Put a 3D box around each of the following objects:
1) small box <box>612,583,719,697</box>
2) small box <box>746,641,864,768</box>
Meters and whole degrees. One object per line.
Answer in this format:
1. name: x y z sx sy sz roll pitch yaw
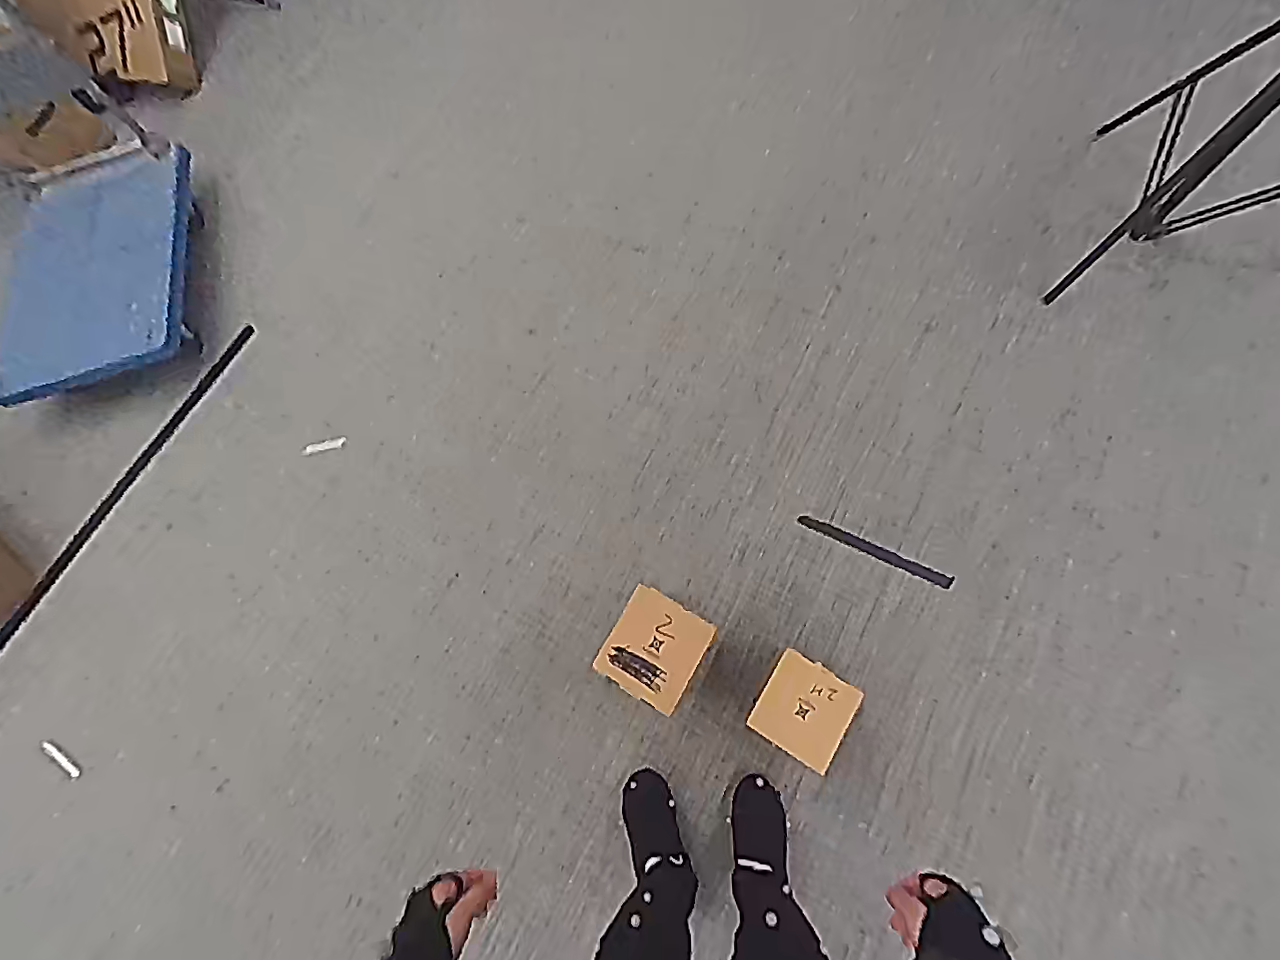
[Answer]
1. small box: 0.061 0.353 1.199 0.168 0.176 0.179 28 79 16
2. small box: 0.332 0.455 1.121 0.168 0.176 0.179 30 78 15
